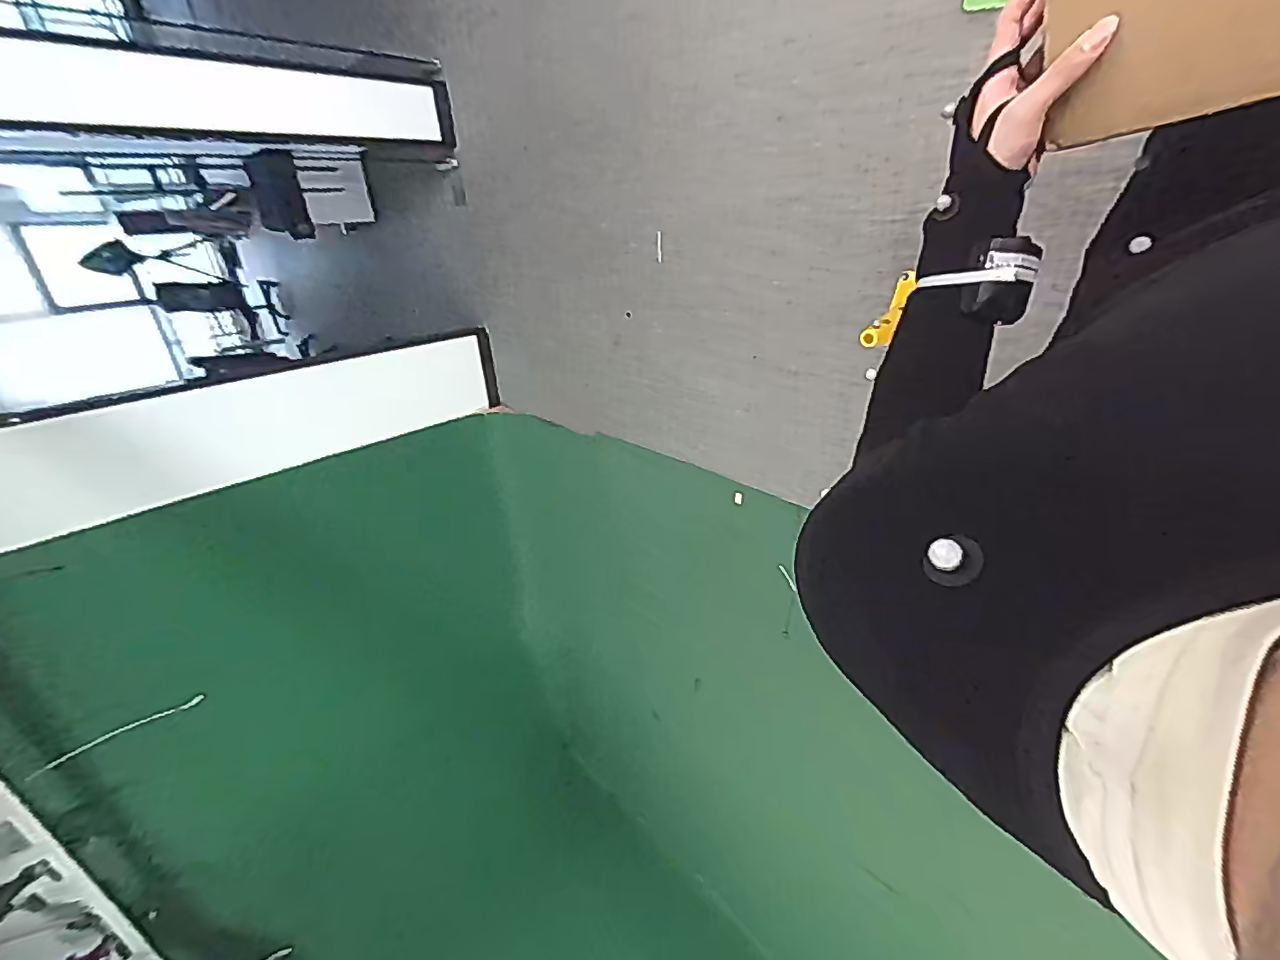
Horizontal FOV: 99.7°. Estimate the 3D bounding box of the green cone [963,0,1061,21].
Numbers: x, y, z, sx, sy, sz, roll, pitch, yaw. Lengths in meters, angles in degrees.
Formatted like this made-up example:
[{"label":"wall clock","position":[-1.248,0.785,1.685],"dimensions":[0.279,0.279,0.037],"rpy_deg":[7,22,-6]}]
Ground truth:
[{"label":"green cone","position":[0.683,-1.037,1.023],"dimensions":[0.200,0.368,0.202],"rpy_deg":[28,131,37]}]
